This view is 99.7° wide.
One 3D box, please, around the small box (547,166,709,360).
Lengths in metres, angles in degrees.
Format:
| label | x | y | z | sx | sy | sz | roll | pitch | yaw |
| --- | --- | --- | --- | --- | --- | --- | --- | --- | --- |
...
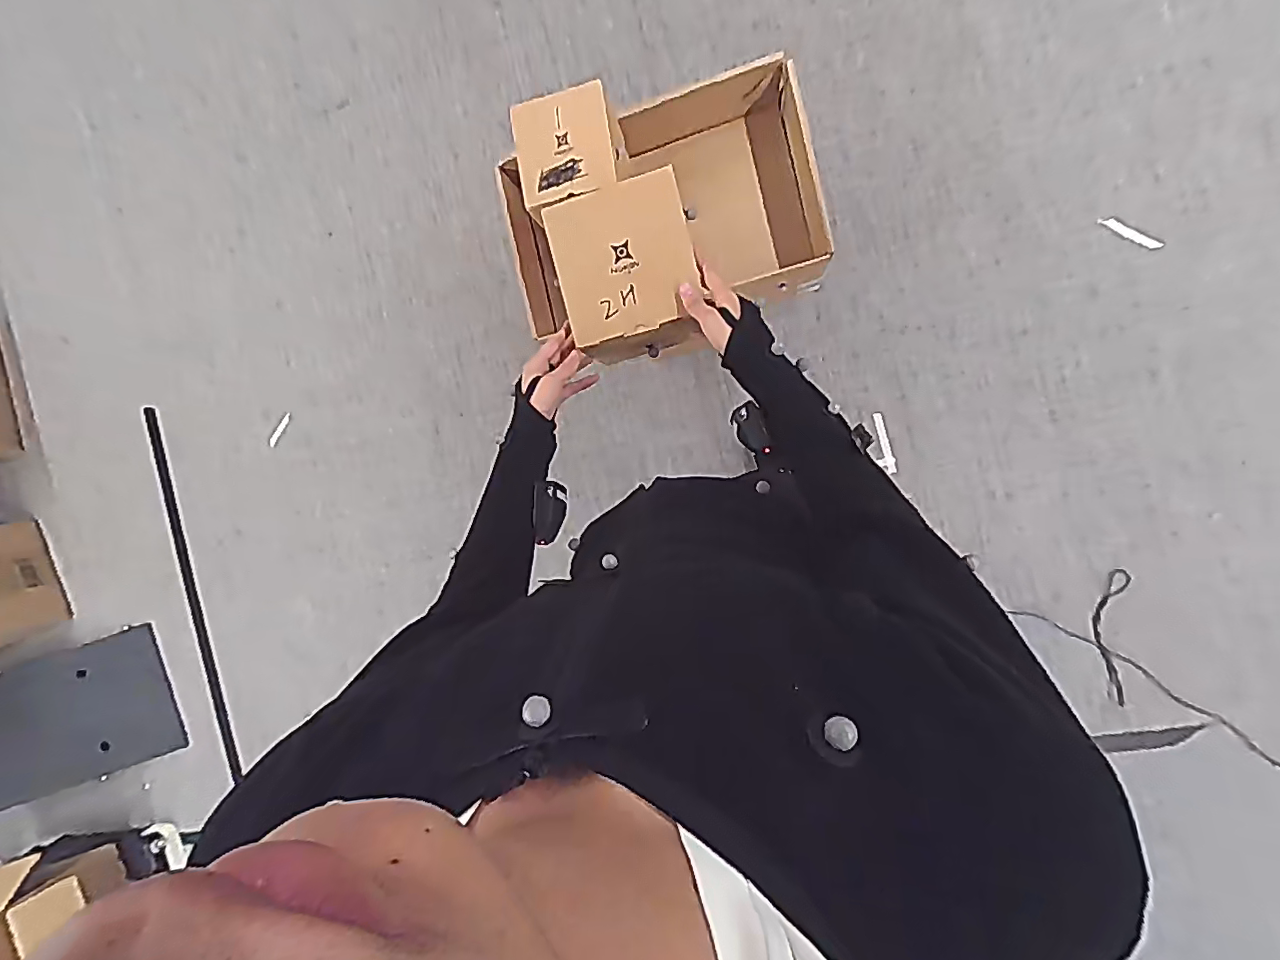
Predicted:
| label | x | y | z | sx | sy | sz | roll | pitch | yaw |
| --- | --- | --- | --- | --- | --- | --- | --- | --- | --- |
| small box | -0.006 | -0.273 | 0.724 | 0.168 | 0.176 | 0.179 | -14 | 94 | 9 |

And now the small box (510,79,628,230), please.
| label | x | y | z | sx | sy | sz | roll | pitch | yaw |
| --- | --- | --- | --- | --- | --- | --- | --- | --- | --- |
| small box | -0.114 | -0.564 | 0.979 | 0.168 | 0.176 | 0.179 | -9 | 91 | 11 |
